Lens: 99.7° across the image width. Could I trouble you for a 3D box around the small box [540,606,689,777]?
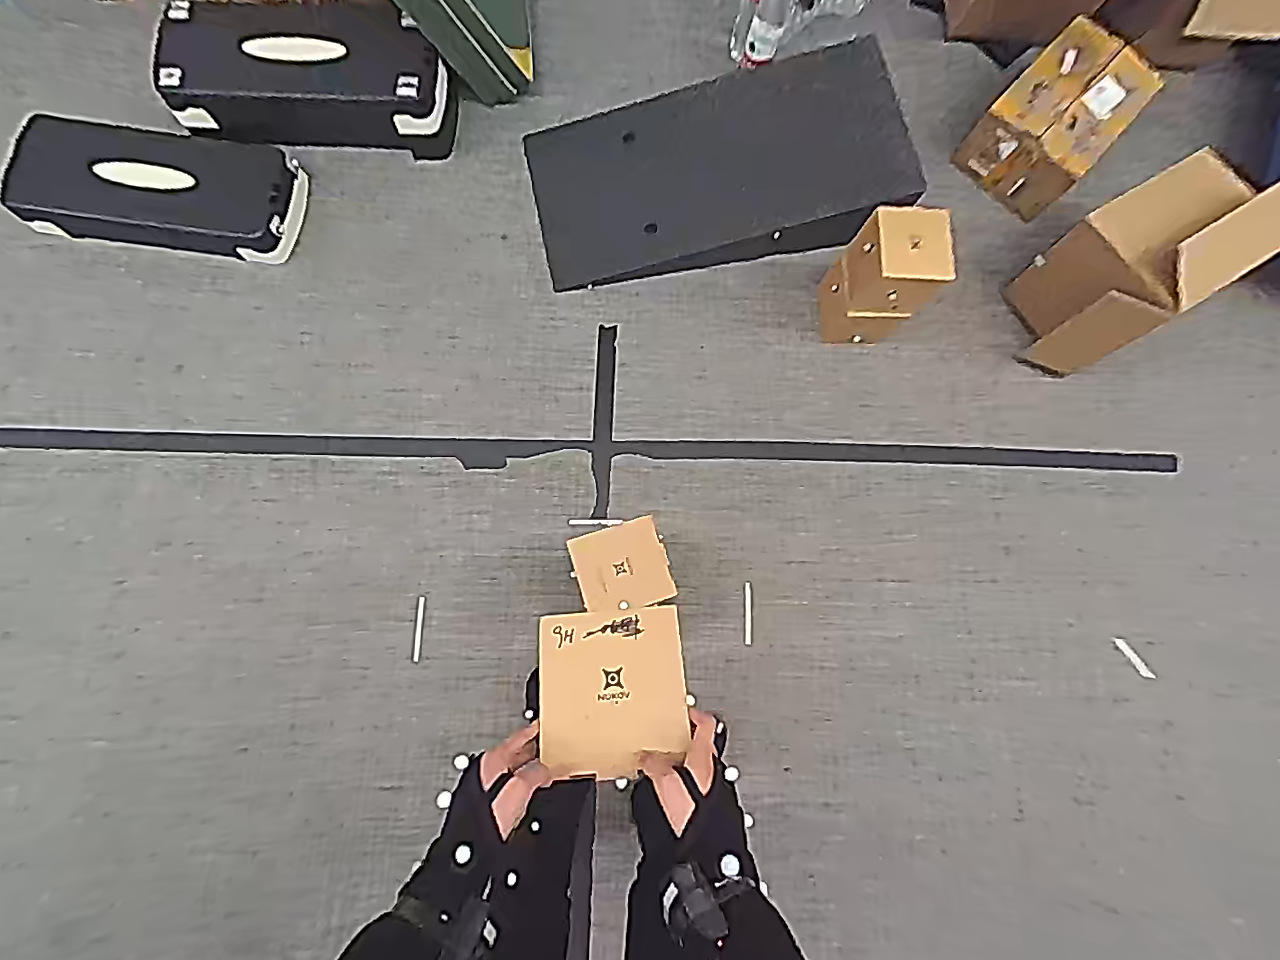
[{"bbox_3d":[-0.029,0.269,0.689,0.168,0.176,0.179,-4,64,-1],"label":"small box"}]
